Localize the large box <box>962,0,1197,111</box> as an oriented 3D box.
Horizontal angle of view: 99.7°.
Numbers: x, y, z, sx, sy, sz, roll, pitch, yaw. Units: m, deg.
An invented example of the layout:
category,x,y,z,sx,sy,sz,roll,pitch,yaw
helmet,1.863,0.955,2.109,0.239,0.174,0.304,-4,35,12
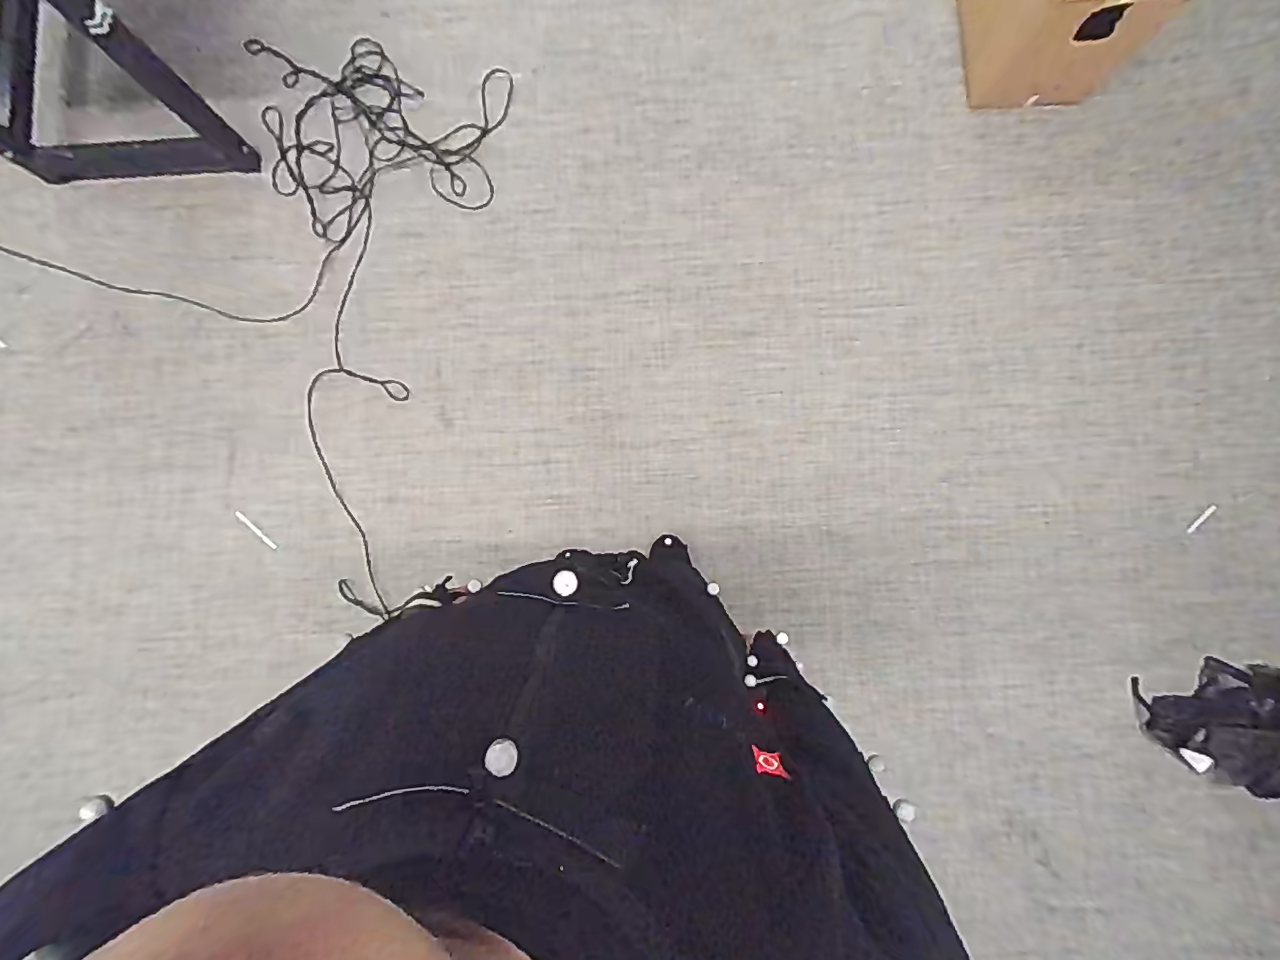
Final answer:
category,x,y,z,sx,sy,sz,roll,pitch,yaw
large box,1.044,-1.218,1.332,0.320,0.320,0.408,-4,87,1
